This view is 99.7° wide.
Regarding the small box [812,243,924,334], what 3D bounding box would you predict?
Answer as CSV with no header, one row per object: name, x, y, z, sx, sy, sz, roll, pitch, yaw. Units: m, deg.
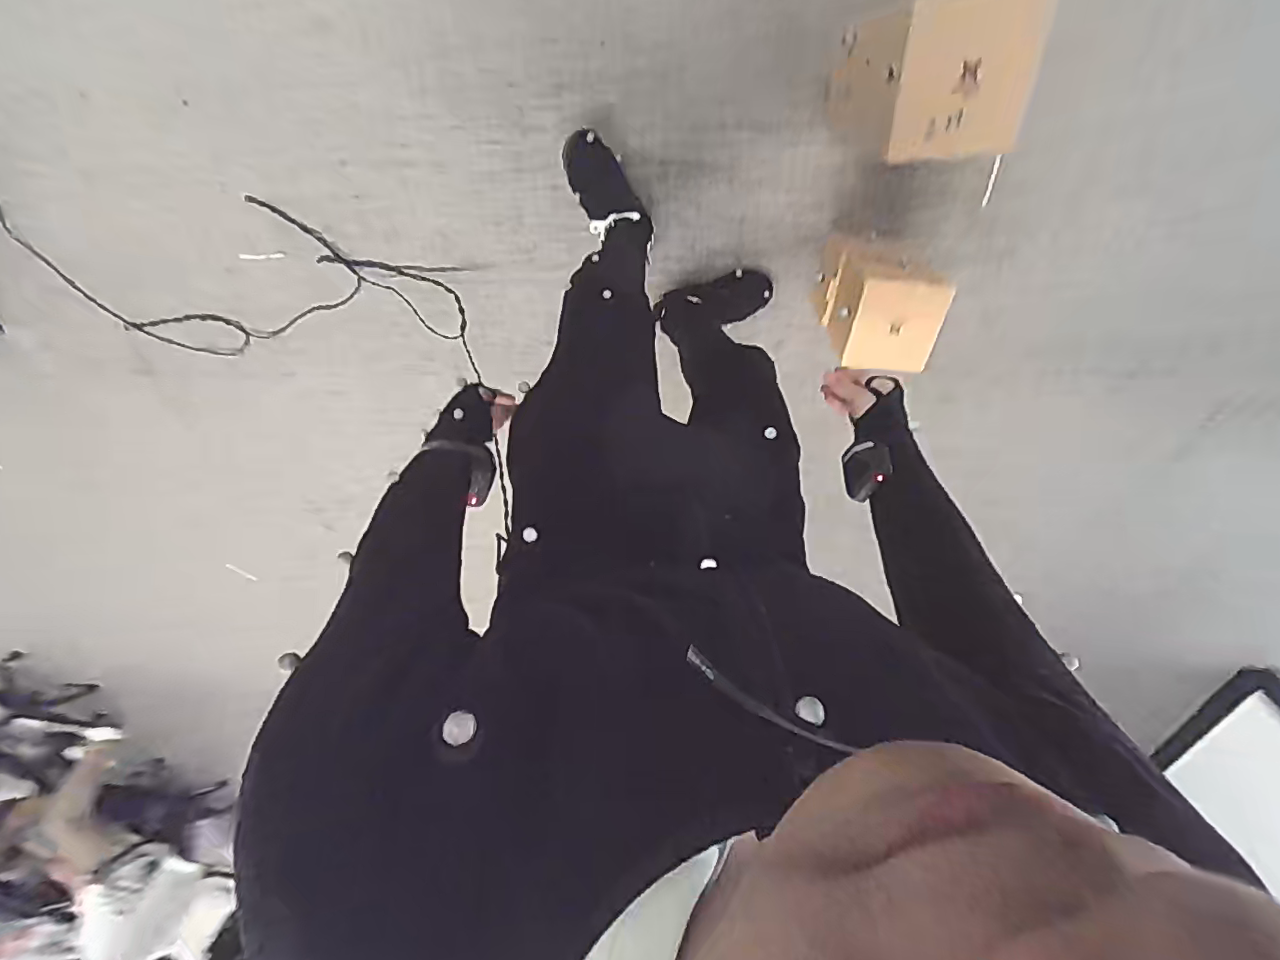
small box,0.506,-0.433,1.235,0.179,0.176,0.168,7,127,2

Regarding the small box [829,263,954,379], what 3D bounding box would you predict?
small box,0.501,-0.329,1.109,0.168,0.176,0.179,5,126,2
